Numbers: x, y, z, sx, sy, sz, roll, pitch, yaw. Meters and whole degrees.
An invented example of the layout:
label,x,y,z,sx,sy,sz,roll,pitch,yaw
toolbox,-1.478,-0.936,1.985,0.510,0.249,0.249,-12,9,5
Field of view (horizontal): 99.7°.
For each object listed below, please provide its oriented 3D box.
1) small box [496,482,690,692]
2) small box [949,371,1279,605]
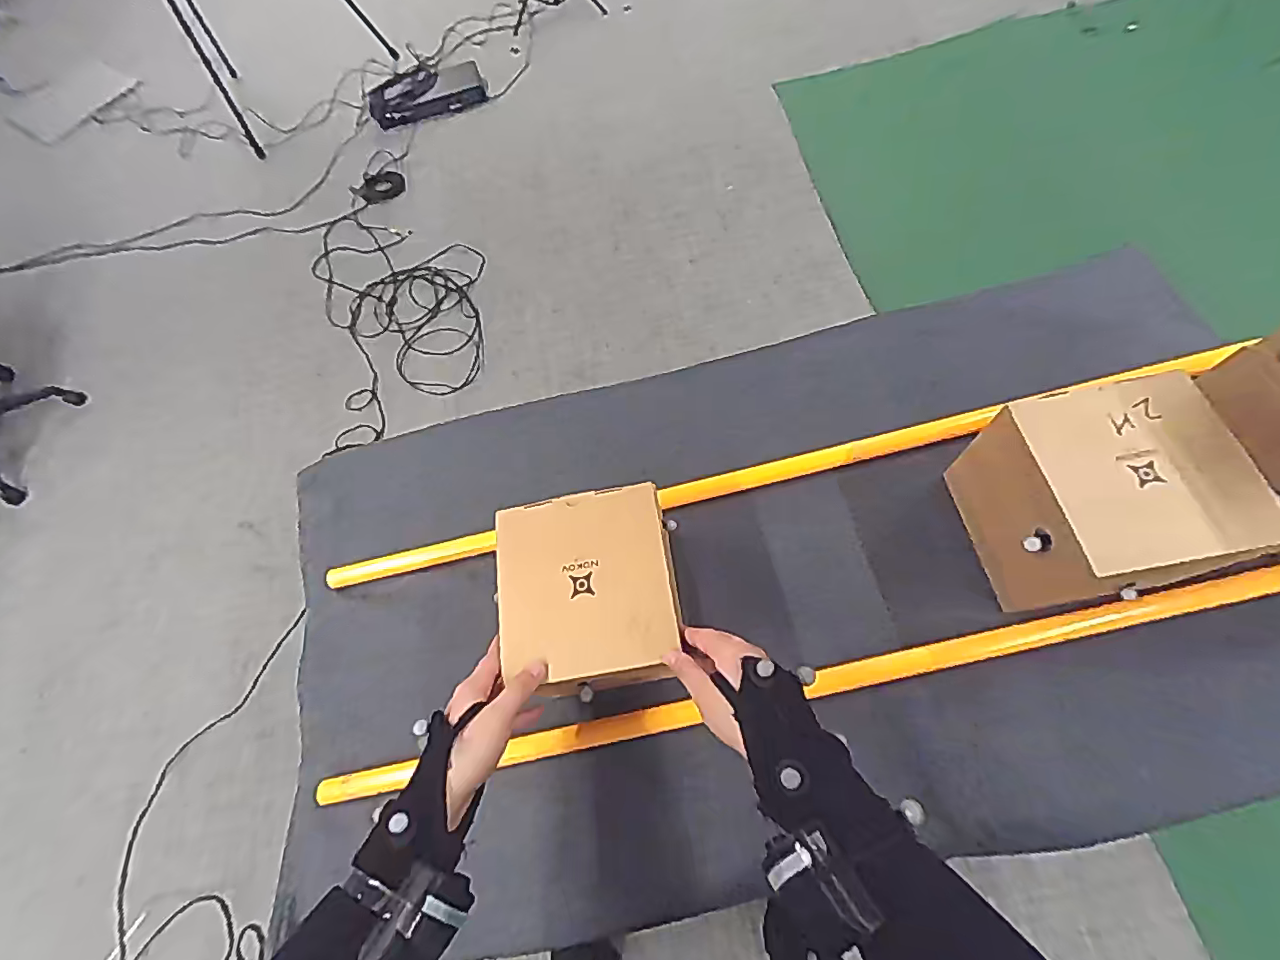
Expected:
label,x,y,z,sx,sy,sz,roll,pitch,yaw
small box,-0.043,0.125,0.580,0.168,0.176,0.179,-11,65,3
small box,0.450,0.022,0.547,0.168,0.176,0.179,-11,66,5
